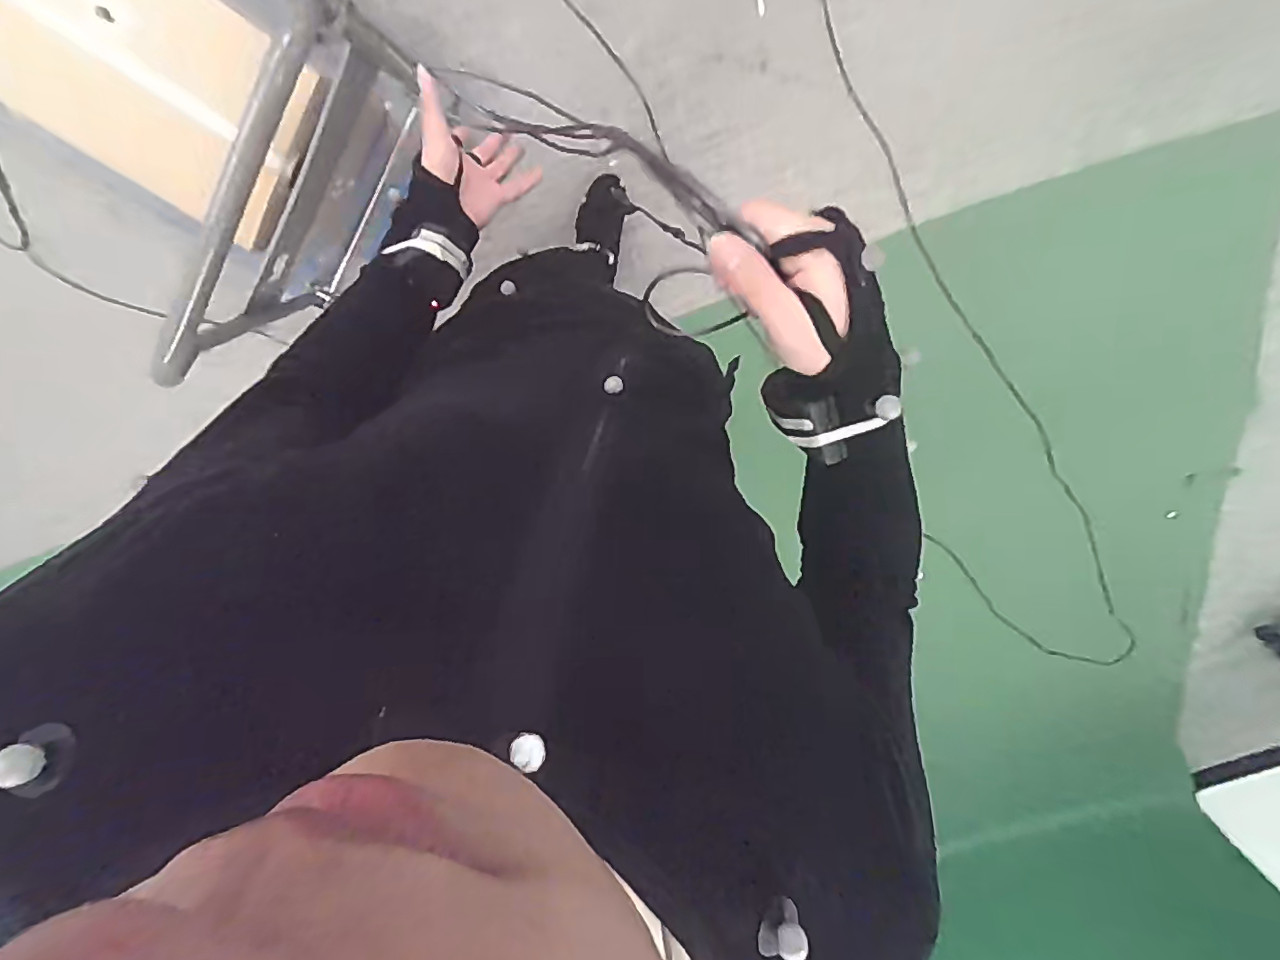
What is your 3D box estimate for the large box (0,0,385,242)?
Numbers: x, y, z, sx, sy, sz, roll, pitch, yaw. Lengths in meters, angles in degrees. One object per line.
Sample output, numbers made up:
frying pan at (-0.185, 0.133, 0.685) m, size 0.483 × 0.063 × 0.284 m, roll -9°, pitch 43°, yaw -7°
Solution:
large box at (-0.745, -0.676, 0.948) m, size 0.408 × 0.320 × 0.320 m, roll 31°, pitch 109°, yaw -18°
